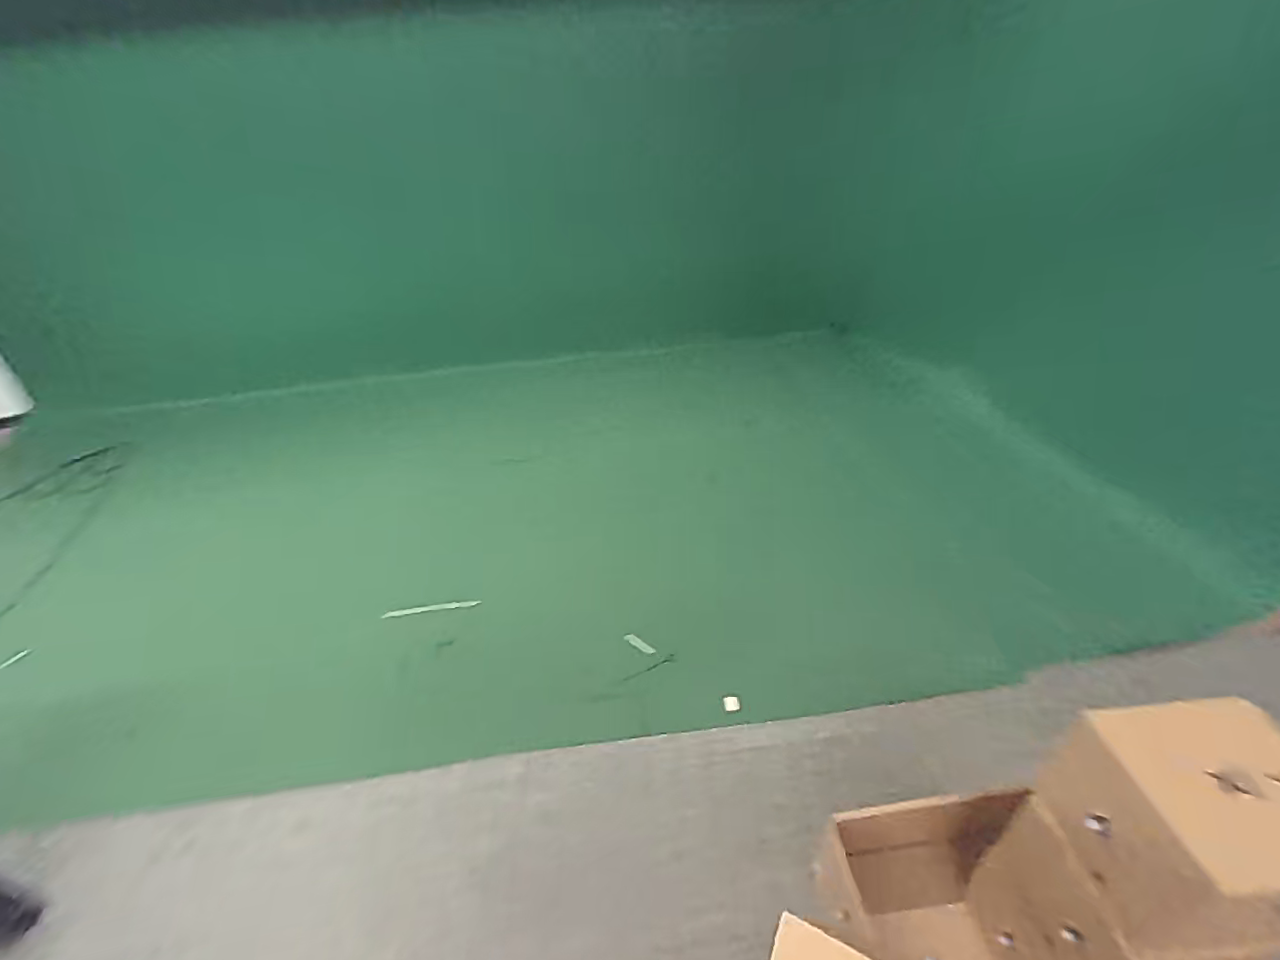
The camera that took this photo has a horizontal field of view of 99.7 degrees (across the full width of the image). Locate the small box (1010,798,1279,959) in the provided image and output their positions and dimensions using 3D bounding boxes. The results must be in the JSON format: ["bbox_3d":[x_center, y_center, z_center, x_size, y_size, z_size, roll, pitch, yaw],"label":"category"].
[{"bbox_3d":[0.582,0.497,0.643,0.179,0.176,0.168,-5,35,-1],"label":"small box"}]

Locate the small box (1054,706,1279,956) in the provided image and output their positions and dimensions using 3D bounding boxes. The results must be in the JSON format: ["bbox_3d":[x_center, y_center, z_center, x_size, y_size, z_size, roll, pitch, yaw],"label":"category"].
[{"bbox_3d":[0.573,0.359,0.555,0.179,0.176,0.168,-5,36,1],"label":"small box"}]

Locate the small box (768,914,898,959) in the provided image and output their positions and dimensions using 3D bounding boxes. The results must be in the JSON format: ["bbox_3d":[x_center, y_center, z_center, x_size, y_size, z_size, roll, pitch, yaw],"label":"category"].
[{"bbox_3d":[0.181,0.445,0.373,0.179,0.176,0.168,2,55,38],"label":"small box"}]
